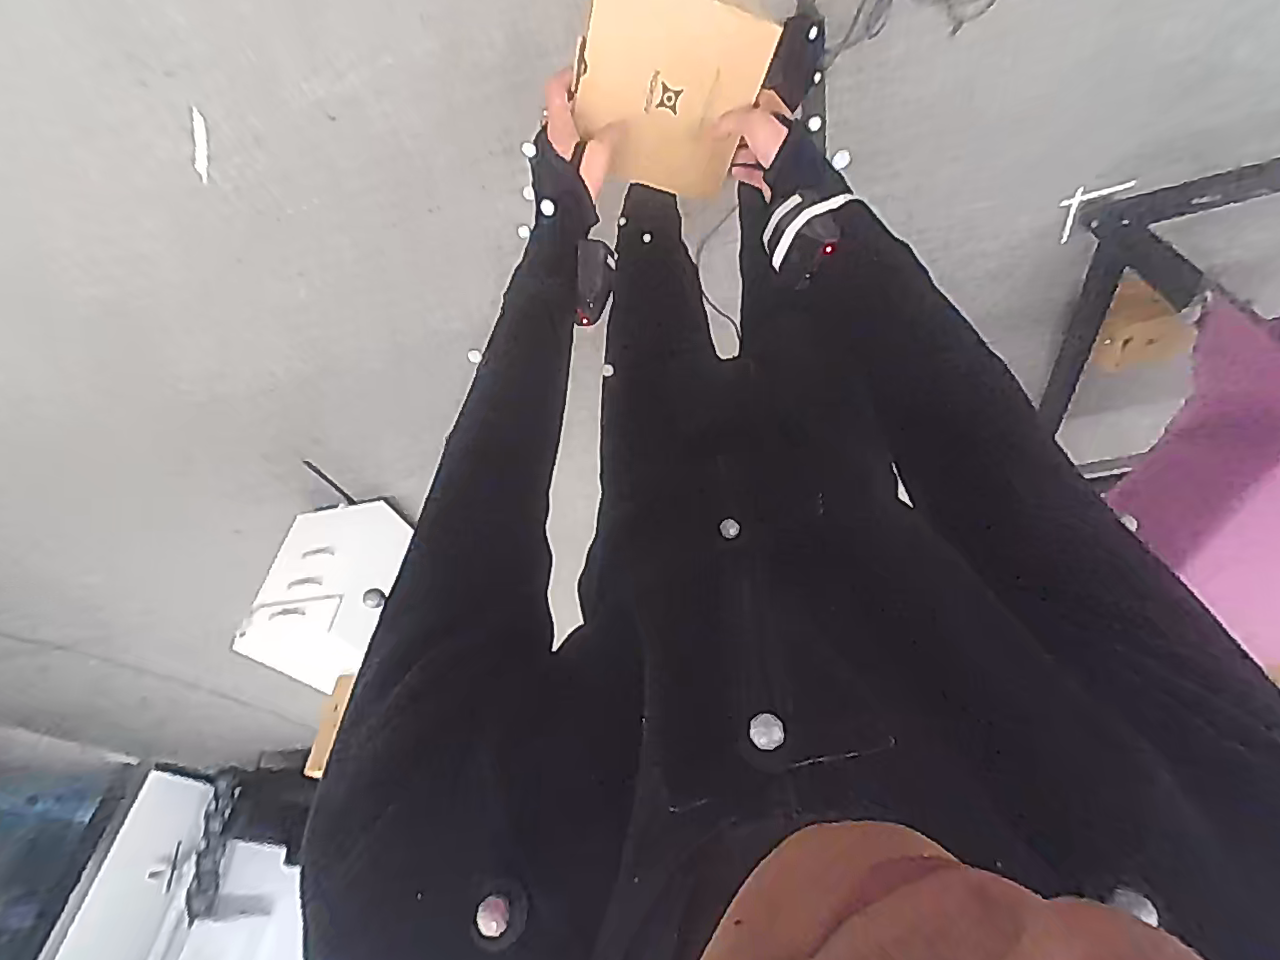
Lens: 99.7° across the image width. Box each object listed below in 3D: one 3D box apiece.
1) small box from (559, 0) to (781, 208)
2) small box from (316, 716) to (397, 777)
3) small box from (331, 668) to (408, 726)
[{"bbox_3d":[0.019,-0.426,0.573,0.179,0.176,0.168,10,138,-14],"label":"small box"},{"bbox_3d":[-1.014,0.957,1.949,0.168,0.176,0.179,-9,140,13],"label":"small box"},{"bbox_3d":[-1.018,0.829,2.053,0.179,0.176,0.168,-10,140,13],"label":"small box"}]
